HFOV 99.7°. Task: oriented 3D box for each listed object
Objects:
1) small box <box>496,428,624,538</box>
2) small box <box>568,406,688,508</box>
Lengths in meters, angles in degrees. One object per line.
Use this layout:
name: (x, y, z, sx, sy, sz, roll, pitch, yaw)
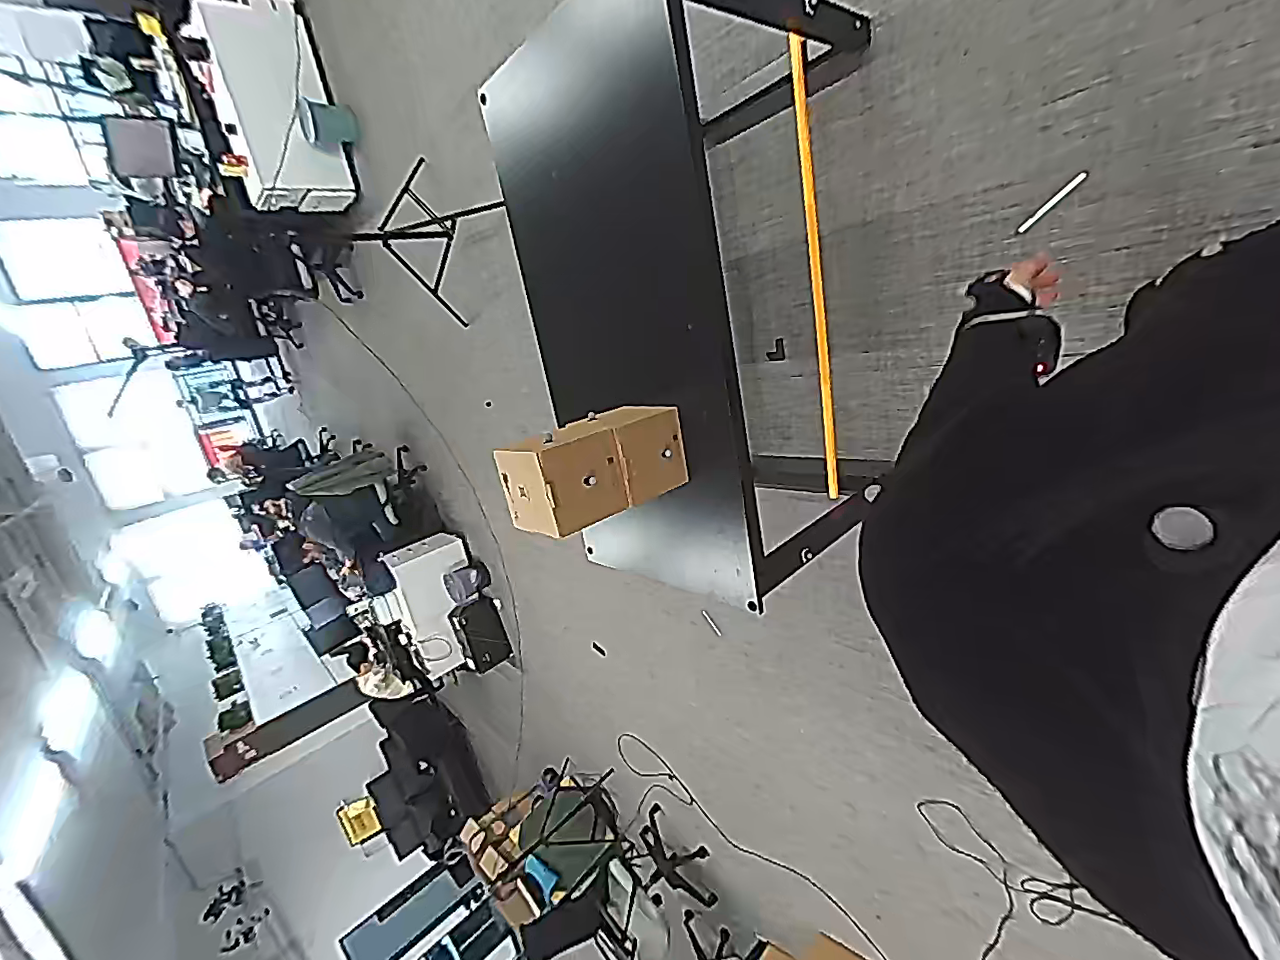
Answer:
small box: (-0.148, -0.002, 1.055, 0.179, 0.176, 0.168, 5, 113, 49)
small box: (-0.023, -0.057, 1.146, 0.179, 0.176, 0.168, 9, 116, 48)
